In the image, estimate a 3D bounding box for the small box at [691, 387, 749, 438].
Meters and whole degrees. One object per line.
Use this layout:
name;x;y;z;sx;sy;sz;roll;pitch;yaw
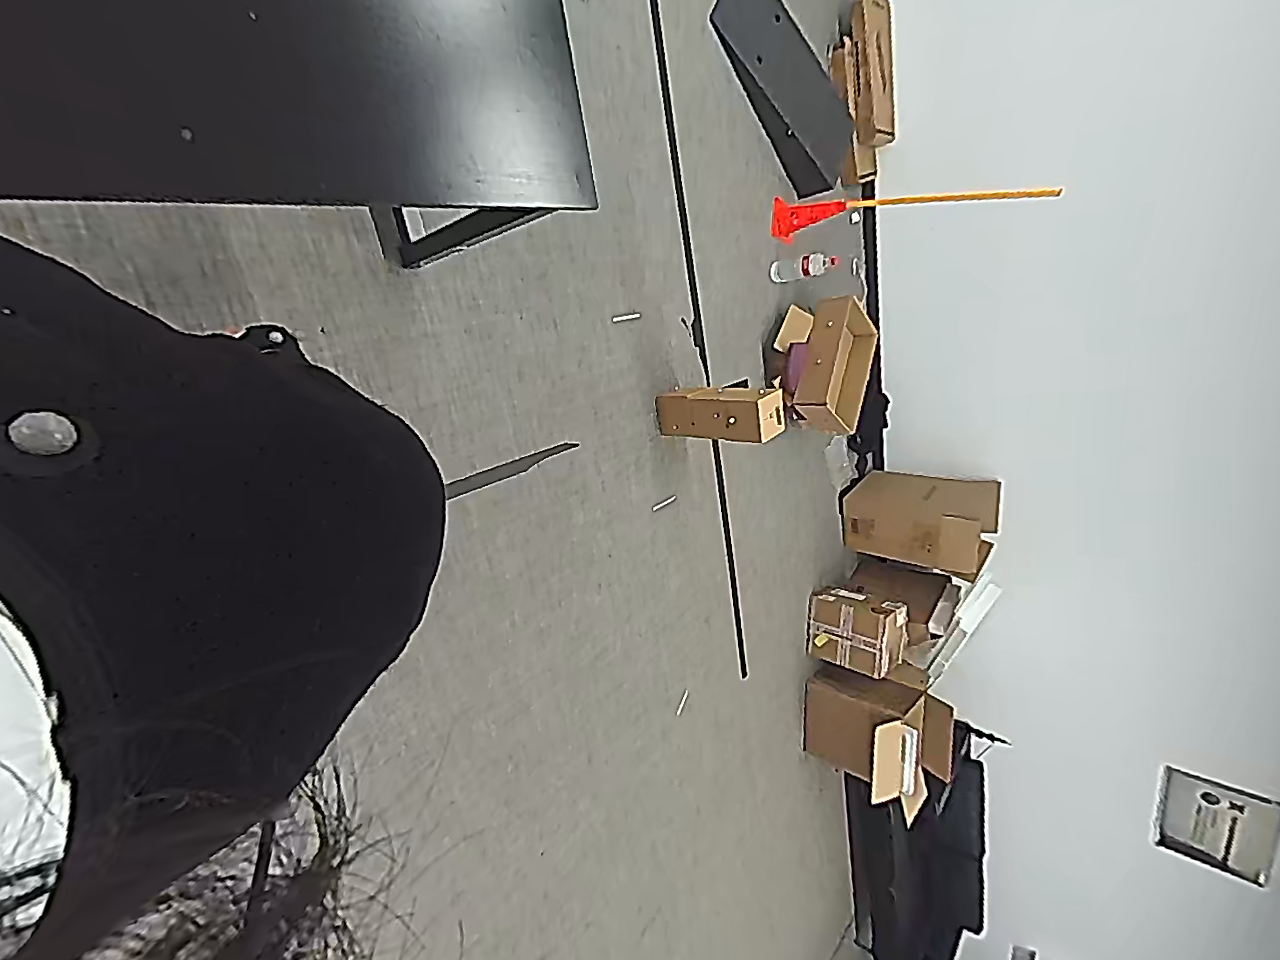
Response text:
small box;0.328;-0.275;2.162;0.179;0.176;0.168;-29;116;-41

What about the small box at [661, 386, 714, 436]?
small box;0.211;-0.293;2.276;0.168;0.176;0.179;-27;113;-42

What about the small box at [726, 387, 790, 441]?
small box;0.448;-0.255;2.051;0.179;0.176;0.168;-28;115;-40
